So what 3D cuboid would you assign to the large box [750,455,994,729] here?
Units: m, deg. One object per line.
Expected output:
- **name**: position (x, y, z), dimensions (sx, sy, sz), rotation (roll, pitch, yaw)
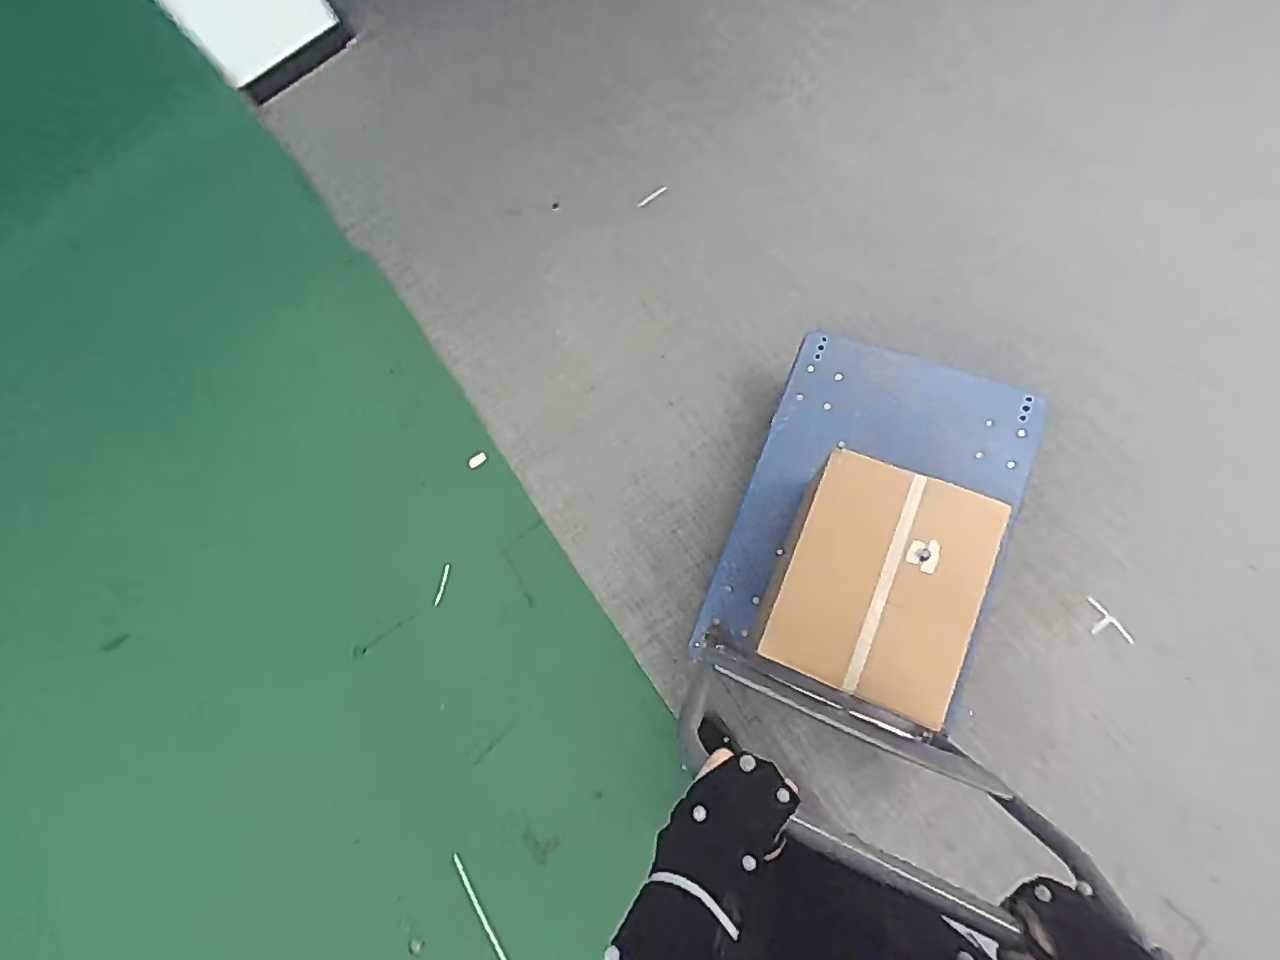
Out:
- **large box**: position (0.437, 0.219, 1.100), dimensions (0.320, 0.320, 0.408), rotation (22, 81, 12)
